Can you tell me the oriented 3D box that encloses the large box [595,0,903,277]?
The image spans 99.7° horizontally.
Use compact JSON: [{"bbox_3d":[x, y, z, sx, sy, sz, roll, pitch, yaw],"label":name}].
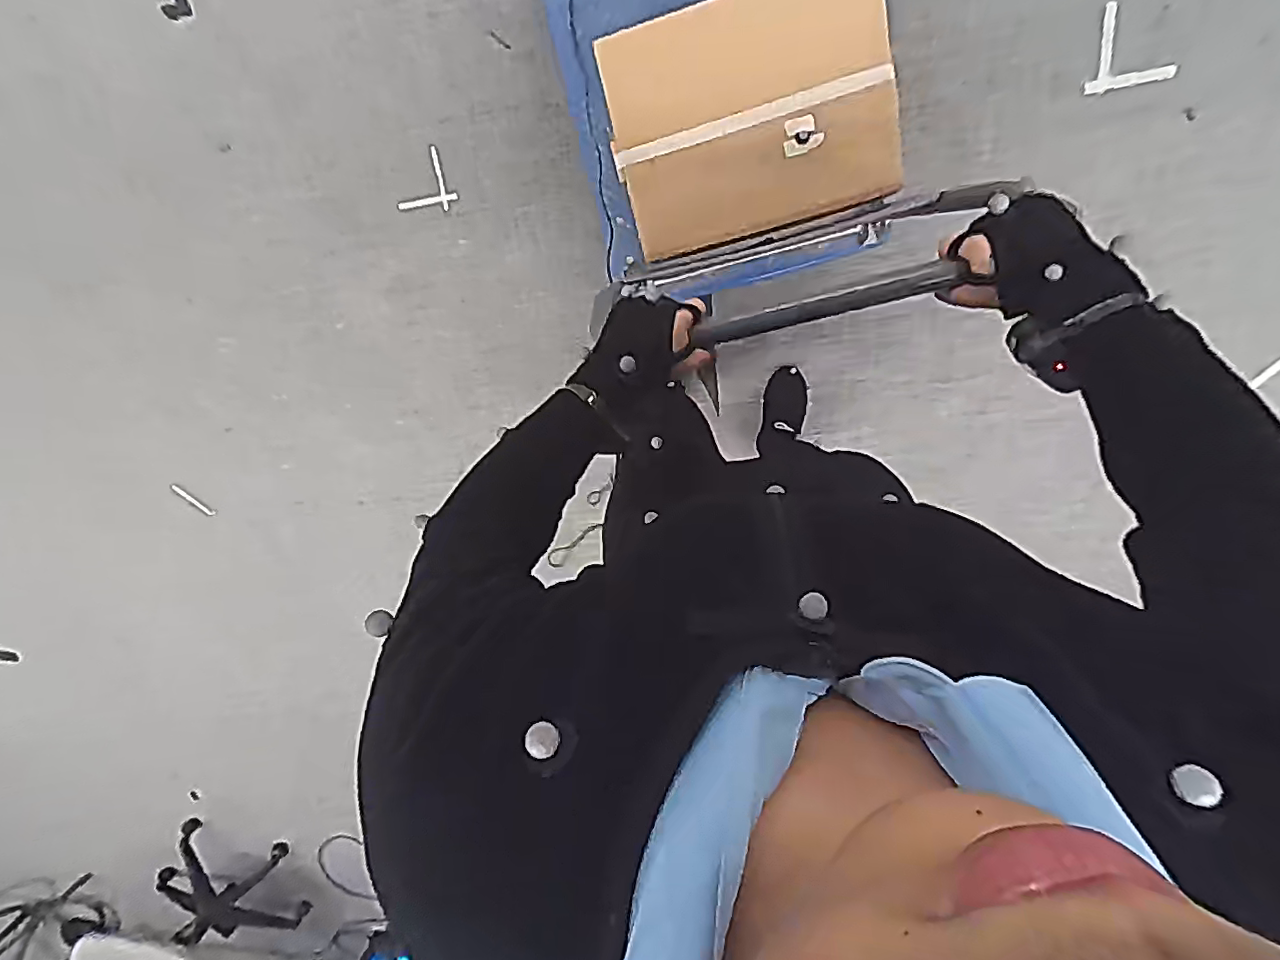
[{"bbox_3d":[0.173,-0.566,0.931,0.408,0.320,0.320,-13,109,9],"label":"large box"}]
